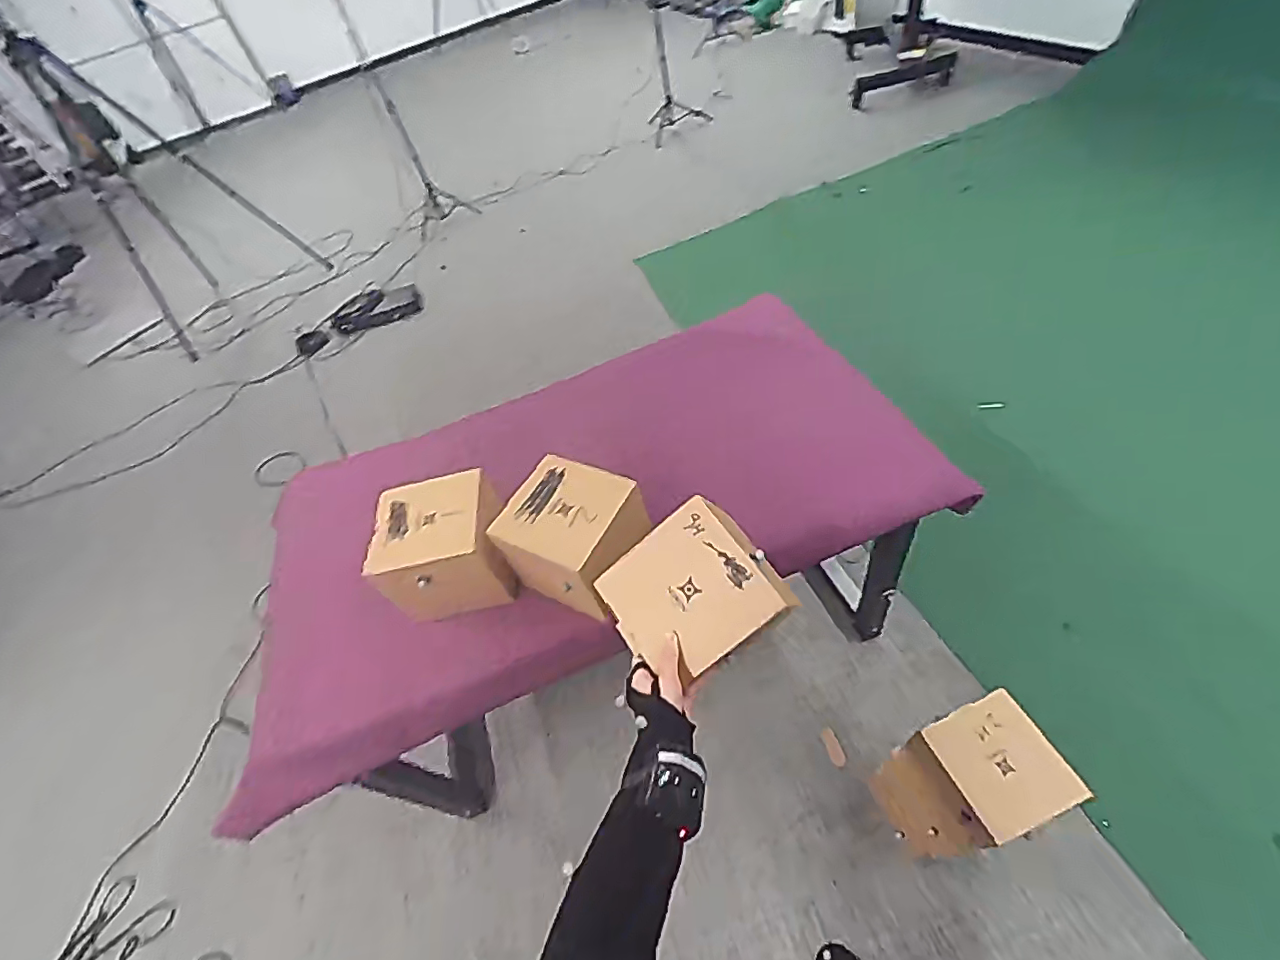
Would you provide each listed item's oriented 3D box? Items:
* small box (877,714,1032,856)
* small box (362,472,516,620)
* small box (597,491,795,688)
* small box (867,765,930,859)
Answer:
[{"bbox_3d":[0.584,0.587,1.034,0.168,0.176,0.179,-24,52,-6],"label":"small box"},{"bbox_3d":[-0.323,0.116,0.905,0.179,0.176,0.168,-13,50,3],"label":"small box"},{"bbox_3d":[0.082,0.143,0.709,0.179,0.176,0.168,-41,68,8],"label":"small box"},{"bbox_3d":[0.609,0.686,1.159,0.179,0.176,0.168,-22,50,-4],"label":"small box"}]
